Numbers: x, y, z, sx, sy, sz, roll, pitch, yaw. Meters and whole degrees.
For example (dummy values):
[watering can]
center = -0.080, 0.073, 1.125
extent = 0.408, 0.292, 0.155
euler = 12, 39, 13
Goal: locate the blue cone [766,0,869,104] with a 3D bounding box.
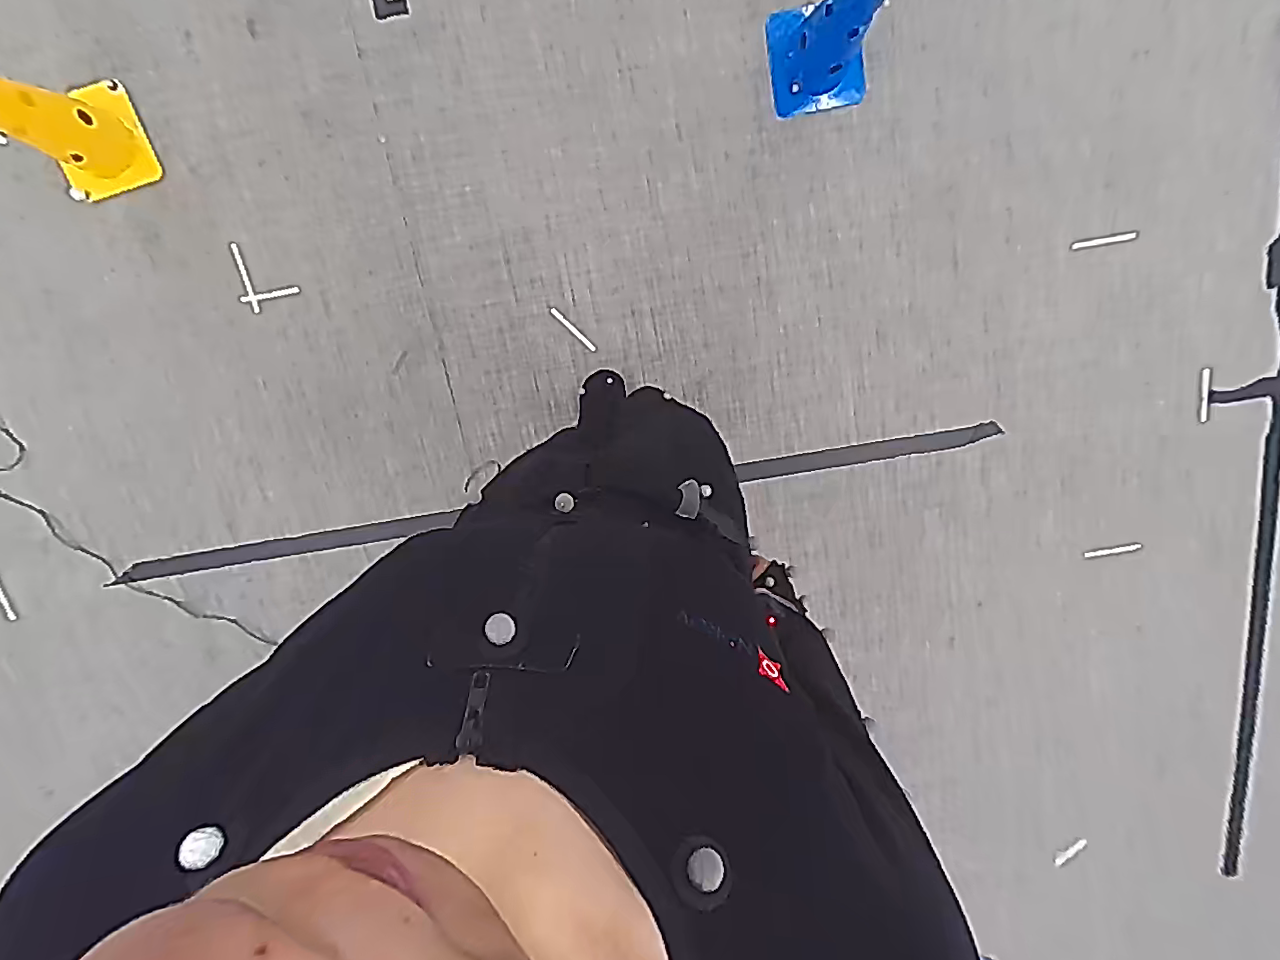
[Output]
[blue cone]
center = 0.374, -0.879, 0.990
extent = 0.193, 0.380, 0.192
euler = -9, 102, 0
